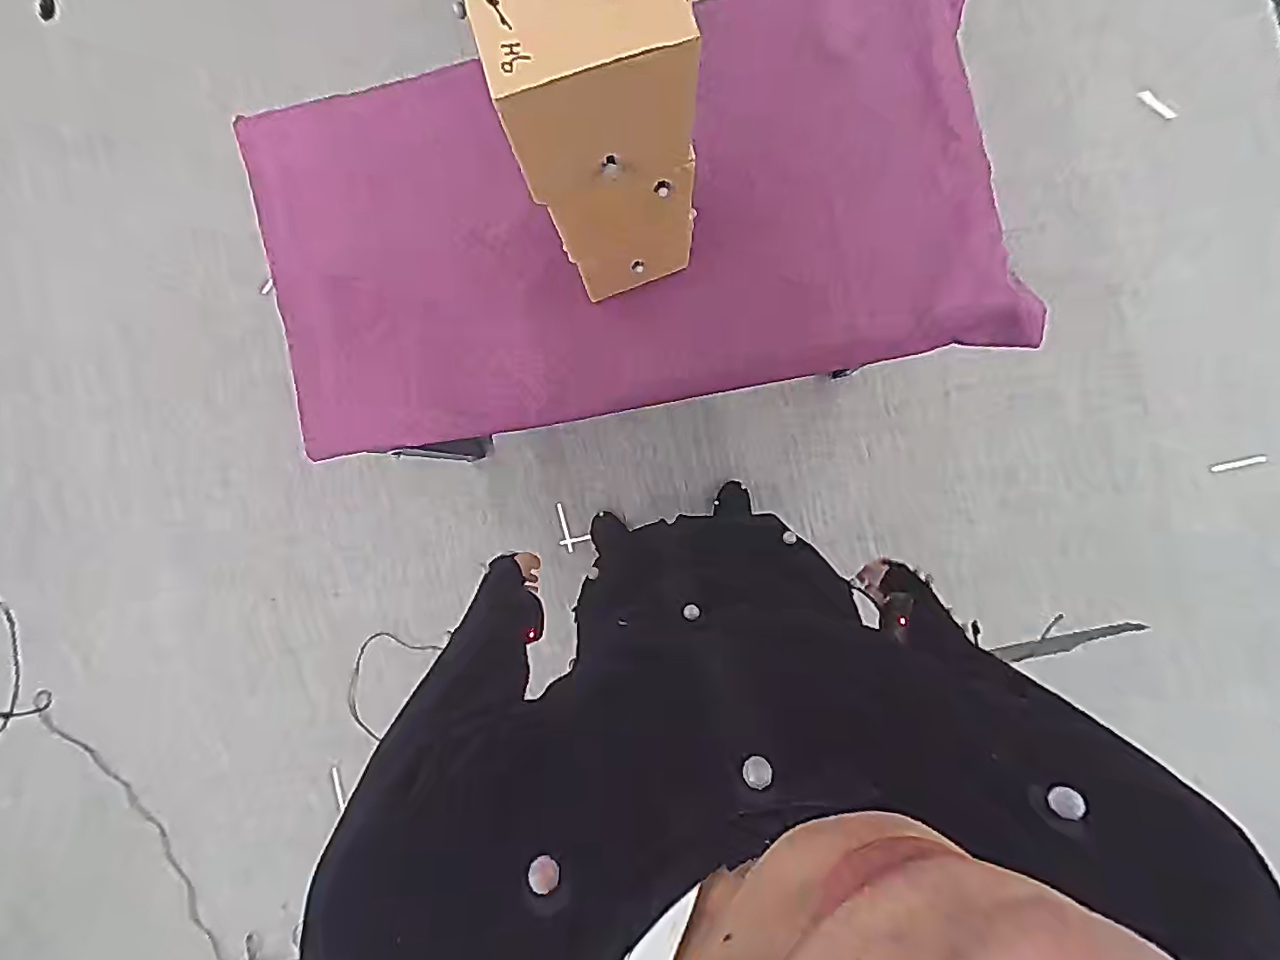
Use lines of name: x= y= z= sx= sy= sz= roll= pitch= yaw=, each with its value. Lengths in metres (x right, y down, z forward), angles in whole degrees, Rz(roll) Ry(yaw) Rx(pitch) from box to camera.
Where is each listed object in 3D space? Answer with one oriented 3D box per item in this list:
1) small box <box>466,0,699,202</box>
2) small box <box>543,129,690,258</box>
small box: x=-0.055 y=-0.402 z=0.515 sx=0.179 sy=0.176 sz=0.168 roll=-15 pitch=88 yaw=0
small box: x=-0.043 y=-0.405 z=0.679 sx=0.179 sy=0.176 sz=0.168 roll=-15 pitch=89 yaw=1
